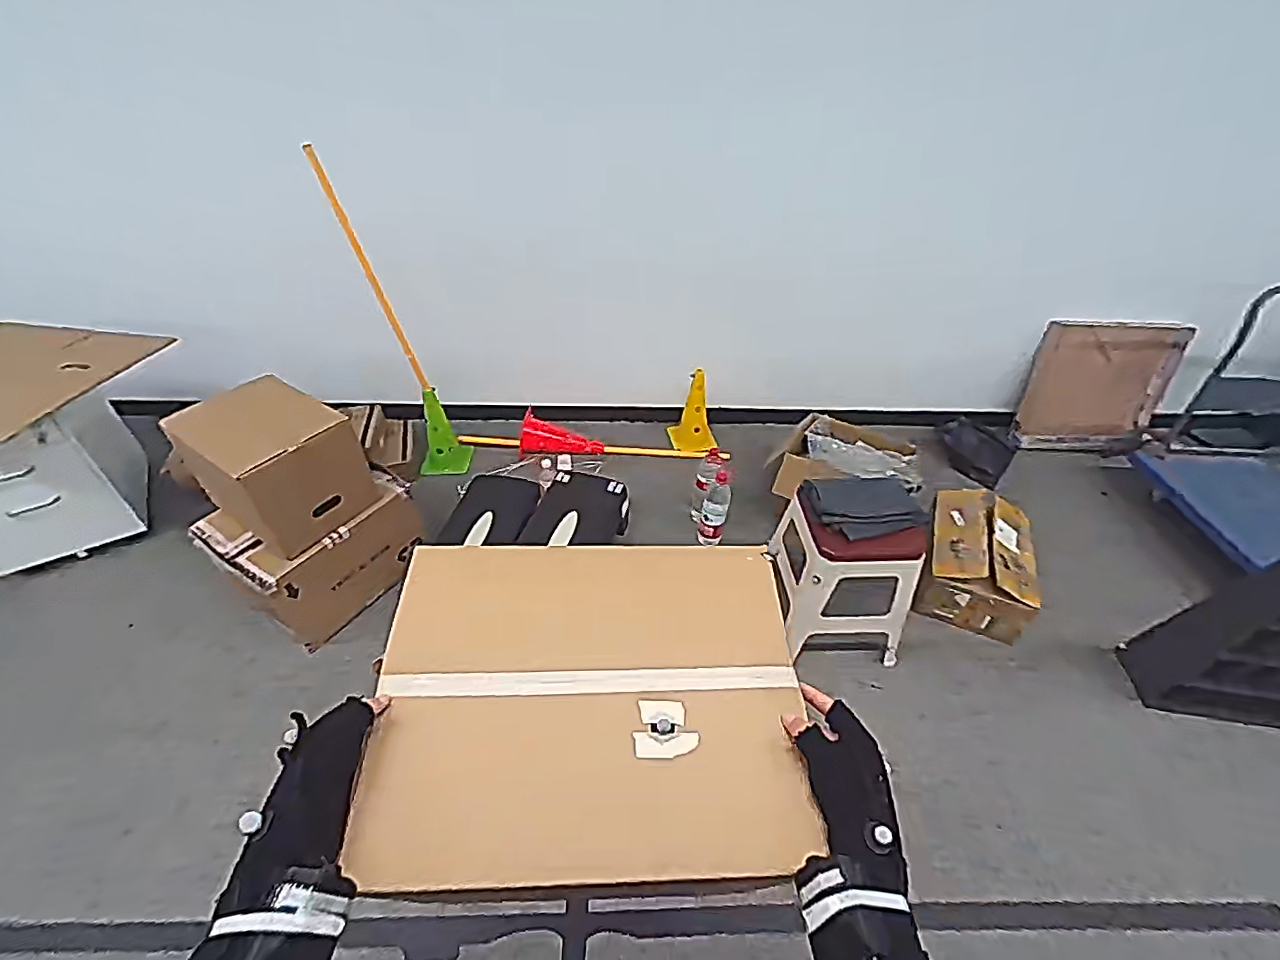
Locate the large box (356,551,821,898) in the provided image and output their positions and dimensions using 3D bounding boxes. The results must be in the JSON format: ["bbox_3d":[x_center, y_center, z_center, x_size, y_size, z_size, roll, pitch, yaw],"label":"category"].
[{"bbox_3d":[-0.056,0.300,0.662,0.408,0.320,0.320,0,51,-5],"label":"large box"}]
